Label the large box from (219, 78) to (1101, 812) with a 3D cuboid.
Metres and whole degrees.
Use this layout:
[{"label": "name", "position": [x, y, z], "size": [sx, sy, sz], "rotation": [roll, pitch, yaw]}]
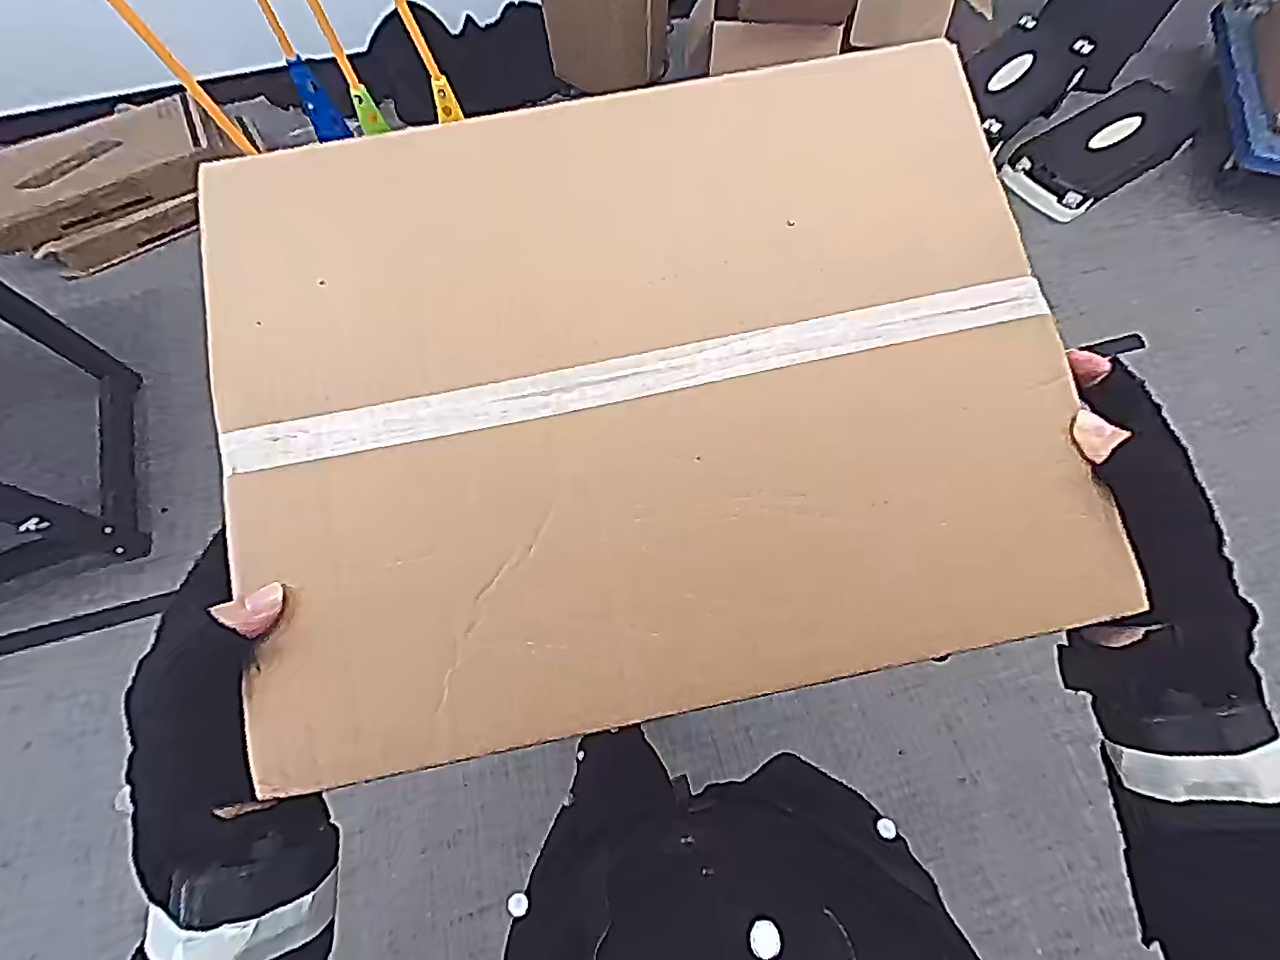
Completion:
[{"label": "large box", "position": [0.000, -0.016, 0.420], "size": [0.408, 0.320, 0.320], "rotation": [-12, 80, -2]}]
